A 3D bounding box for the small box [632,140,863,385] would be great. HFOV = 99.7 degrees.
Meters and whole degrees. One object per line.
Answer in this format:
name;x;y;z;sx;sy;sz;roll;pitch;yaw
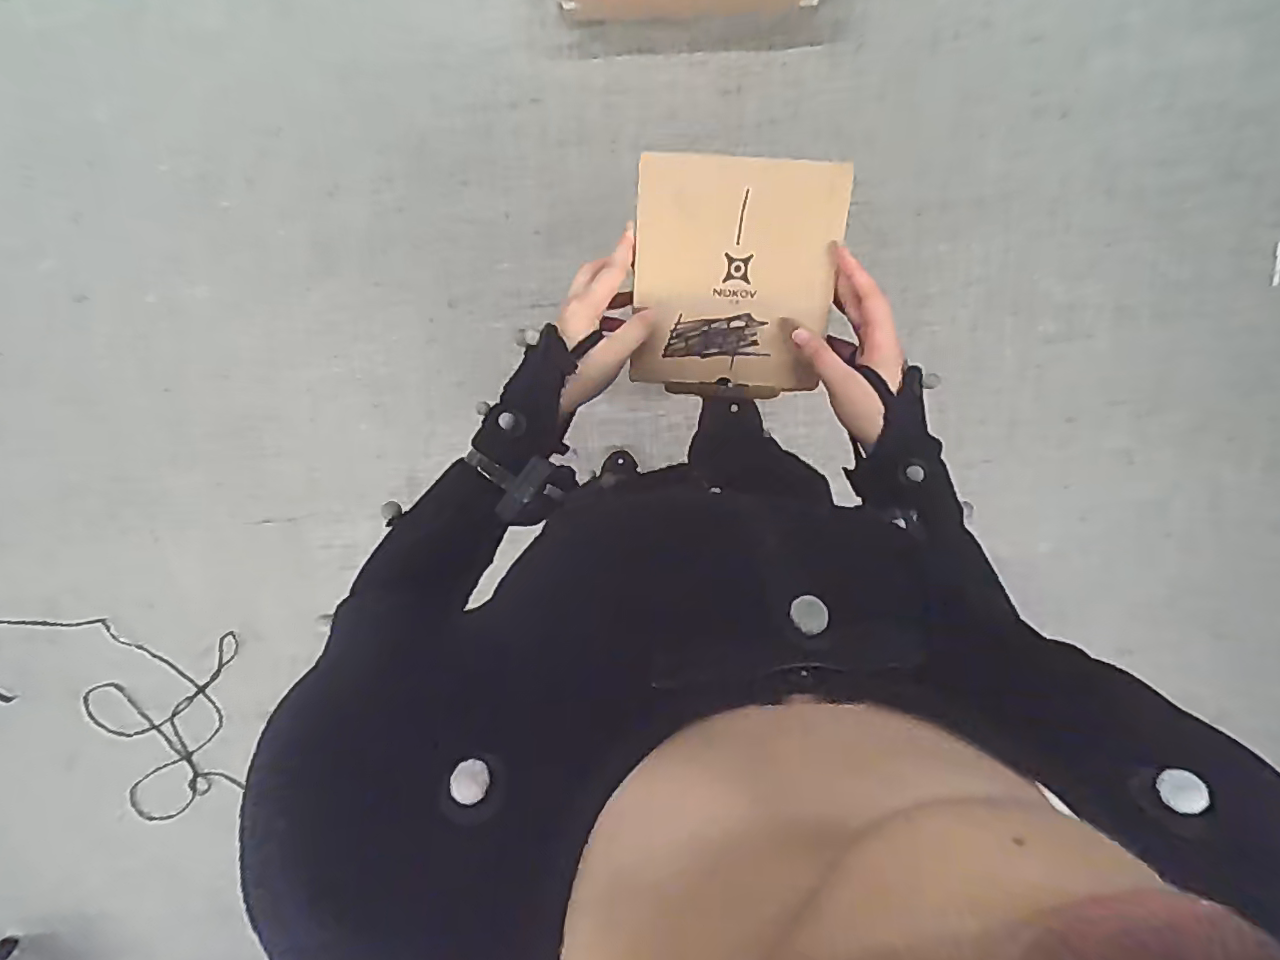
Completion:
small box;0.081;-0.198;0.507;0.168;0.176;0.179;3;113;-2
